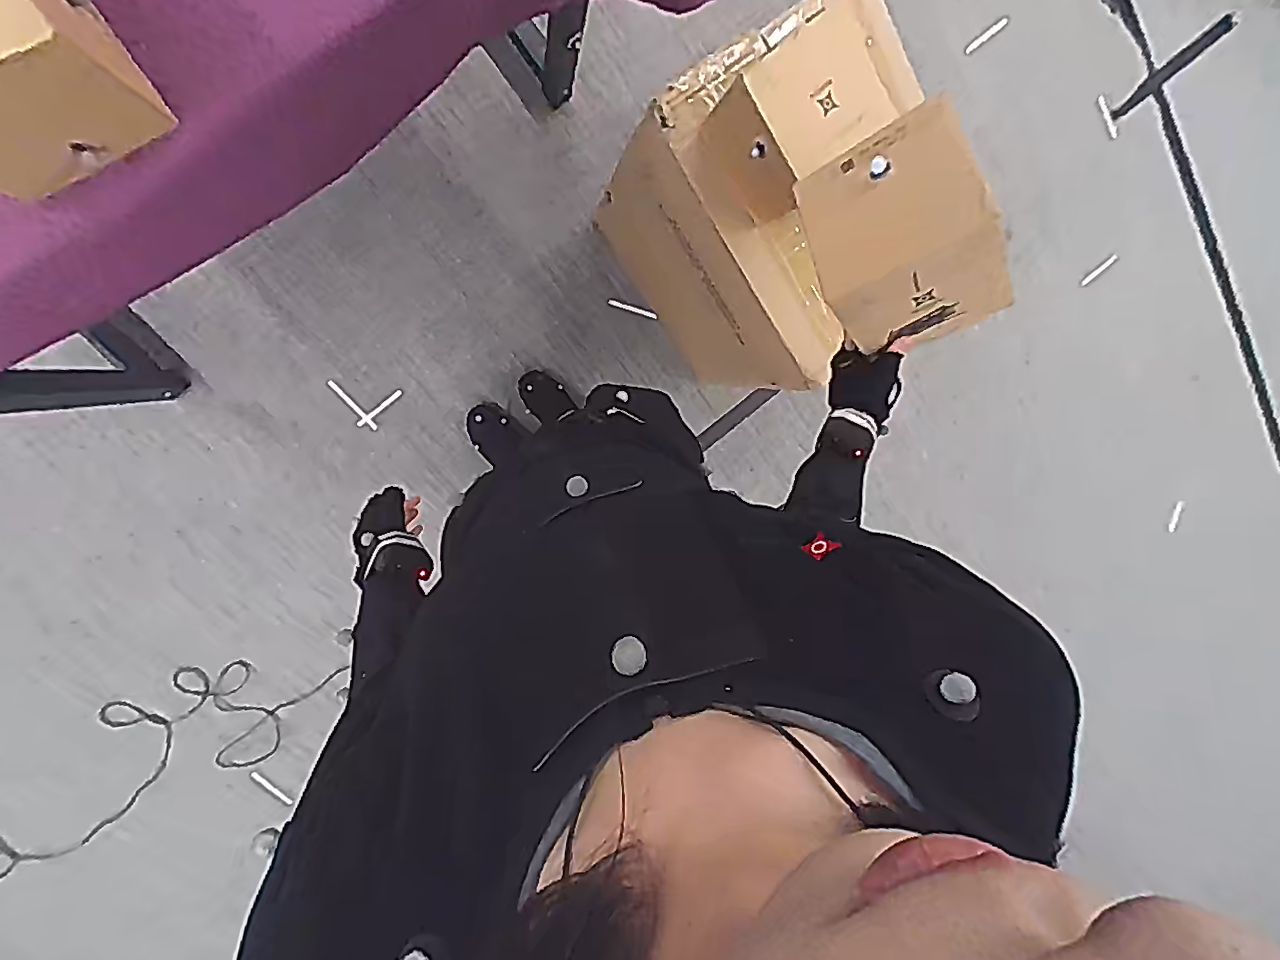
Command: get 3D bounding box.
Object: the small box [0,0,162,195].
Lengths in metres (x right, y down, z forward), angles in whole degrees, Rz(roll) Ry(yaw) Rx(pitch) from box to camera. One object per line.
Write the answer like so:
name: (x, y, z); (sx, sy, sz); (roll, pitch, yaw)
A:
small box: (-0.591, -0.395, 0.484); (0.179, 0.176, 0.168); (-33, 105, -6)

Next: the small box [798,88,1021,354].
small box: (0.299, -0.275, 0.605); (0.179, 0.168, 0.176); (18, 58, -50)

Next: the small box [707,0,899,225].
small box: (0.220, -0.495, 0.760); (0.168, 0.176, 0.179); (-39, 108, -1)
